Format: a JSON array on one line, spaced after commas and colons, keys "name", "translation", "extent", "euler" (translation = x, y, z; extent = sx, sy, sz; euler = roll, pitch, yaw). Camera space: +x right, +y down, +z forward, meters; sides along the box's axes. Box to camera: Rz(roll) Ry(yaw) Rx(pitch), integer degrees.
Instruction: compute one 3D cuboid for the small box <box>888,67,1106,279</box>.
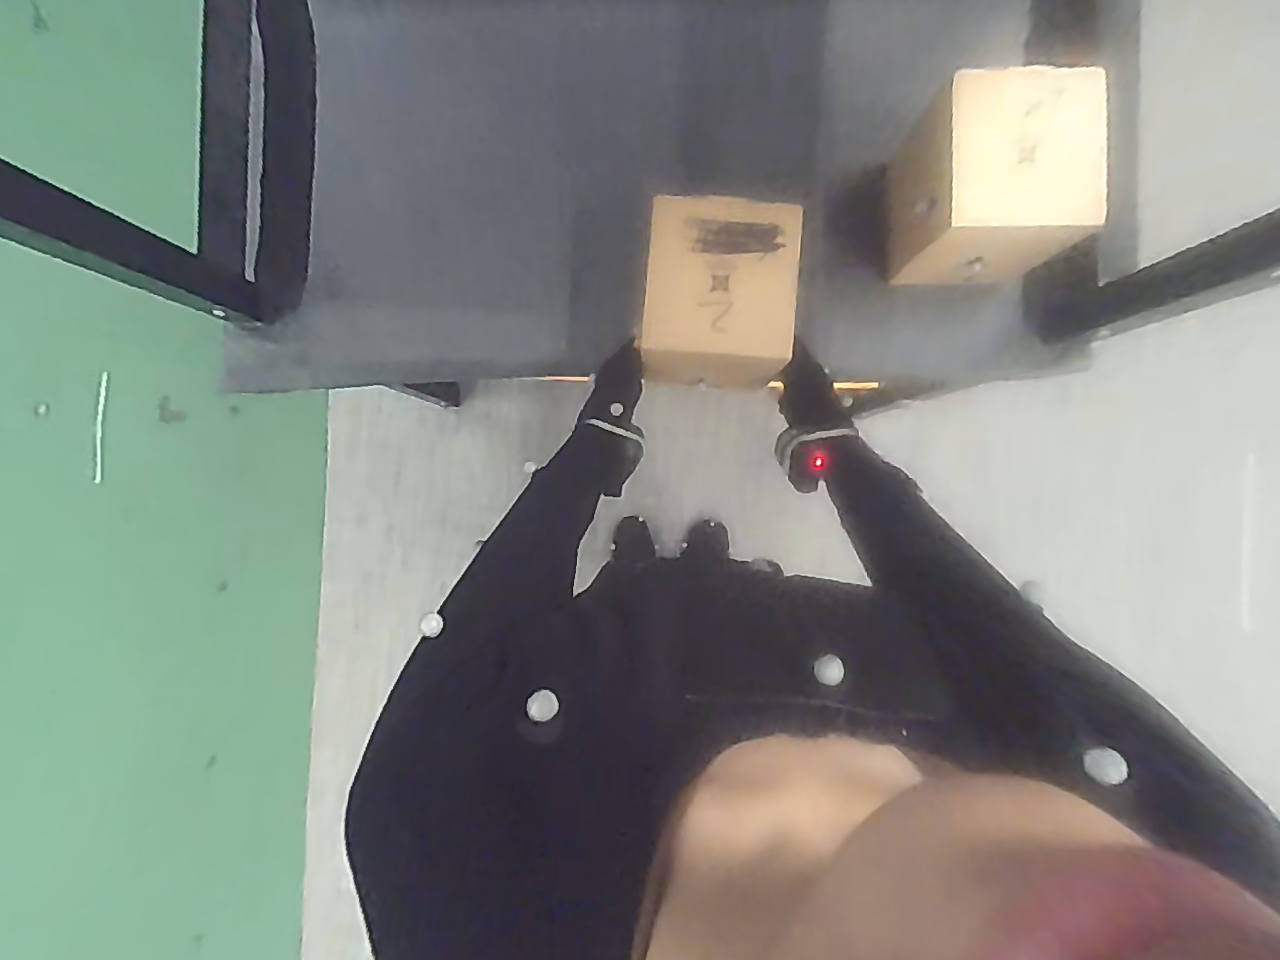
[{"name": "small box", "translation": [0.423, -0.361, 0.667], "extent": [0.168, 0.176, 0.179], "euler": [0, 89, 2]}]
